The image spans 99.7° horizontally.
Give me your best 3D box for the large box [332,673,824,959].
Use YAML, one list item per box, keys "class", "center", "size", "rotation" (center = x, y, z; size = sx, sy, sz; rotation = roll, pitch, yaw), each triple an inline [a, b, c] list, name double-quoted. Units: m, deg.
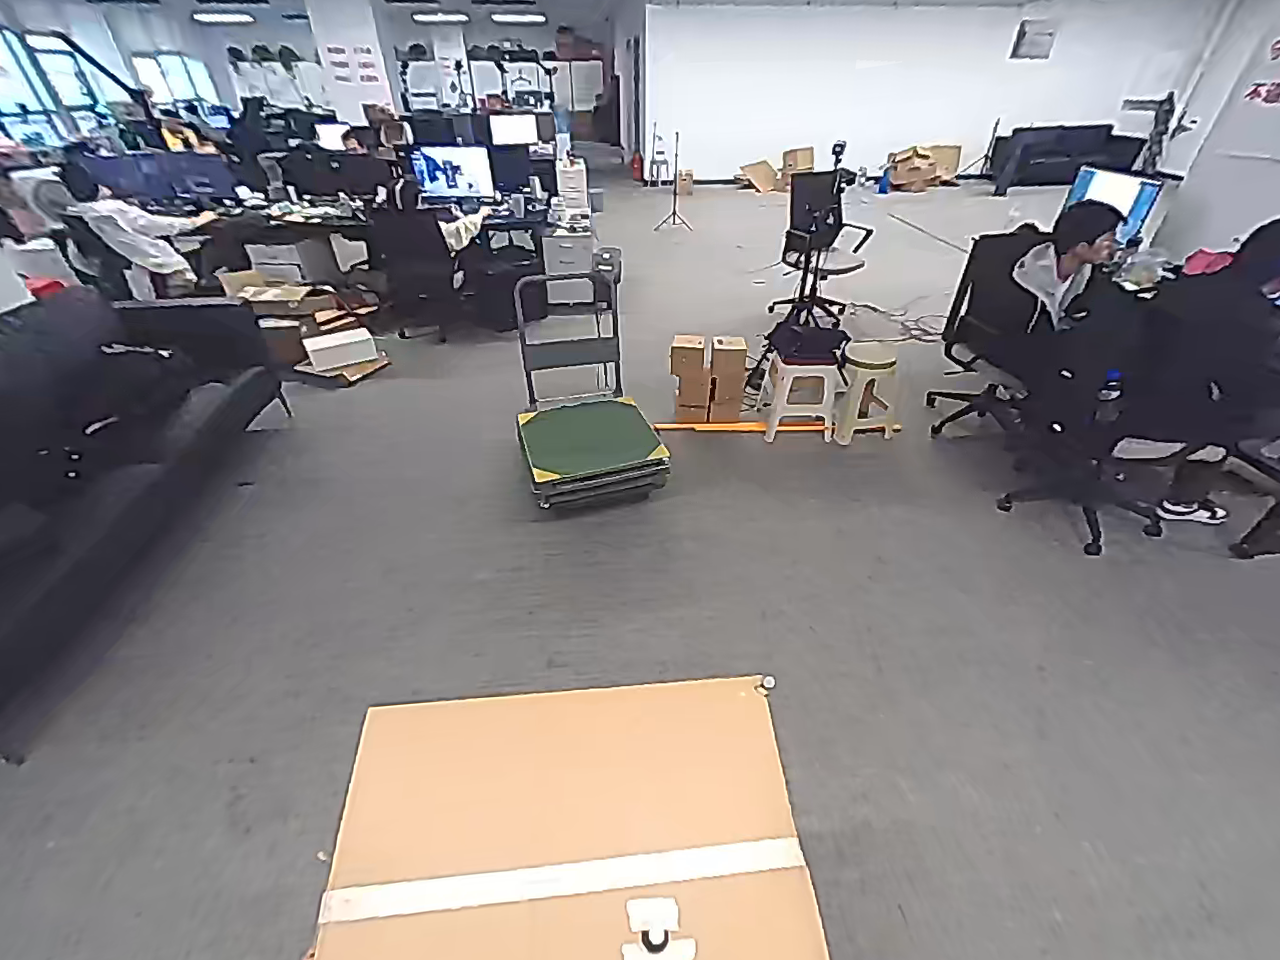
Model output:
- class: "large box"
  center: [-0.061, 0.434, 0.590]
  size: [0.408, 0.320, 0.320]
  rotation: [-3, 52, -6]
